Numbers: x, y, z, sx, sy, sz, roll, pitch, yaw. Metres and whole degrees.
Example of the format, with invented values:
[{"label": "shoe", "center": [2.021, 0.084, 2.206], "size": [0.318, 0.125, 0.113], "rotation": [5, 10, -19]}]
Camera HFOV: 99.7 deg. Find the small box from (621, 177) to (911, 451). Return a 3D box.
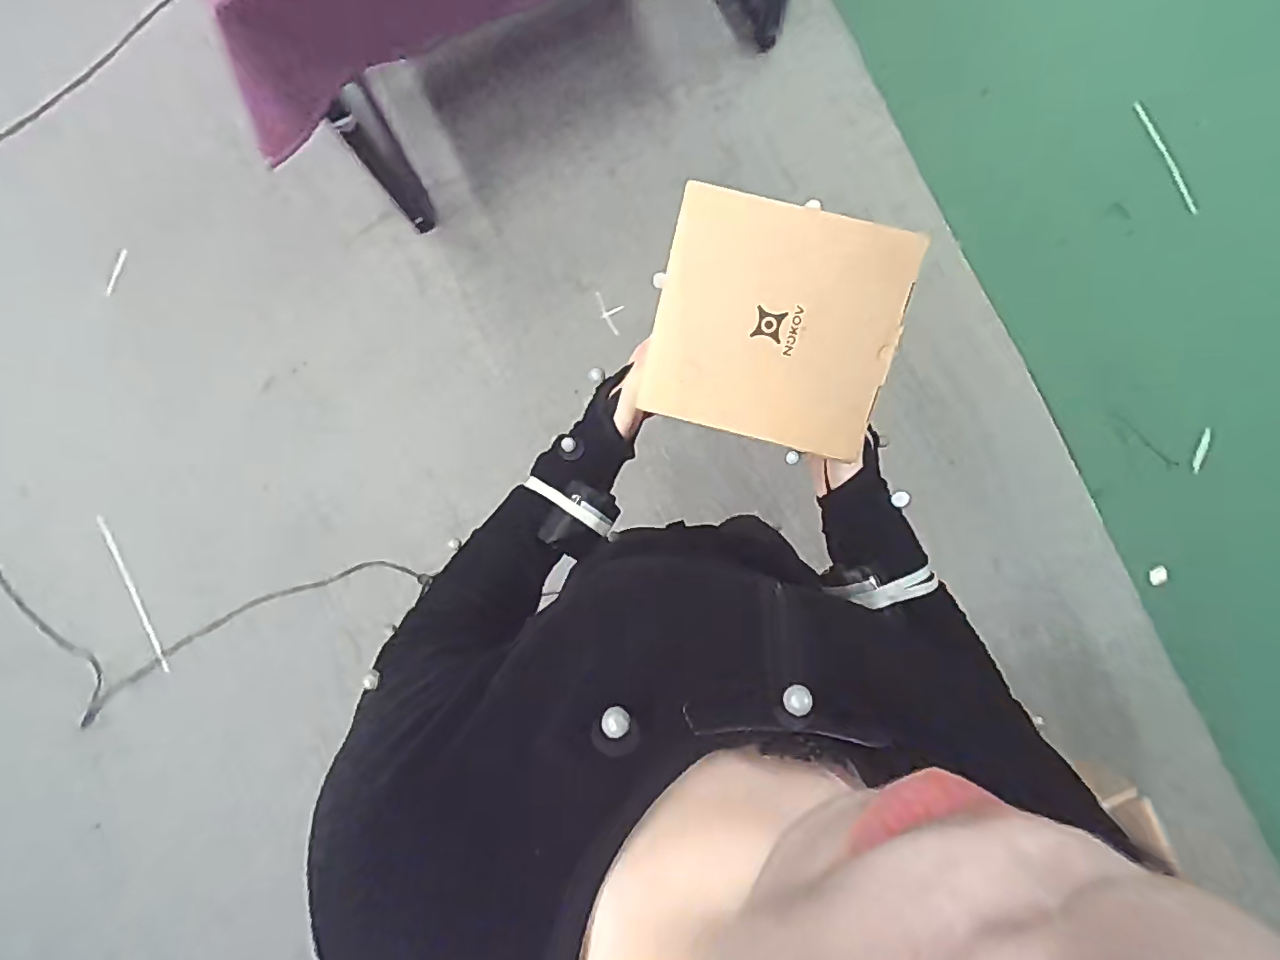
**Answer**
[{"label": "small box", "center": [0.093, -0.132, 0.470], "size": [0.179, 0.176, 0.168], "rotation": [13, 102, 2]}]
